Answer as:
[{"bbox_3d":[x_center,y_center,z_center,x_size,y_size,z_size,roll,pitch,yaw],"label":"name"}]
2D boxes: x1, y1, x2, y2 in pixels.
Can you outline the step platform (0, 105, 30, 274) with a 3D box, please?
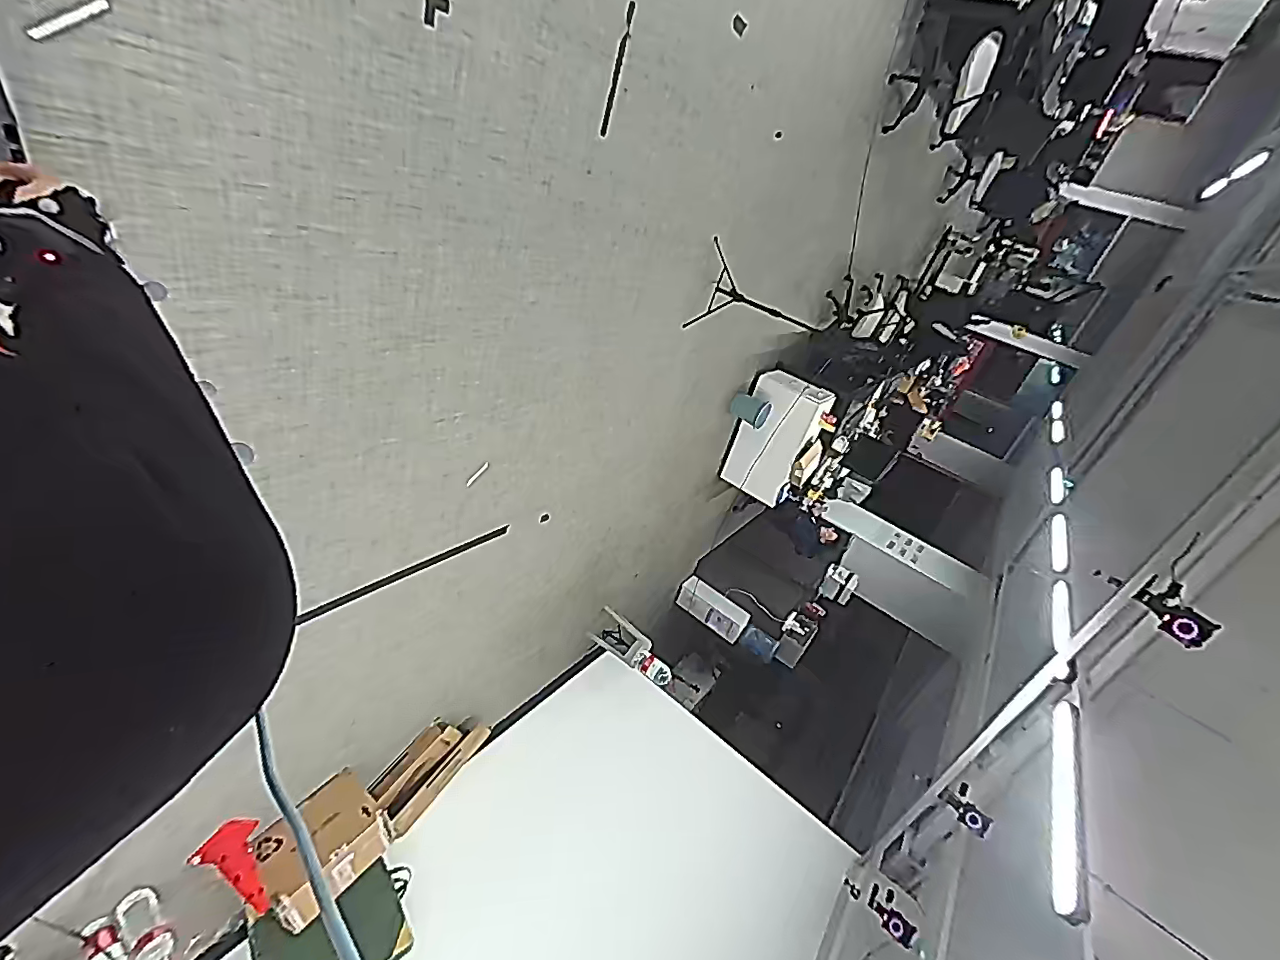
[{"bbox_3d":[-1.258,-0.449,0.660,0.684,0.204,0.286,-17,132,-53],"label":"step platform"}]
